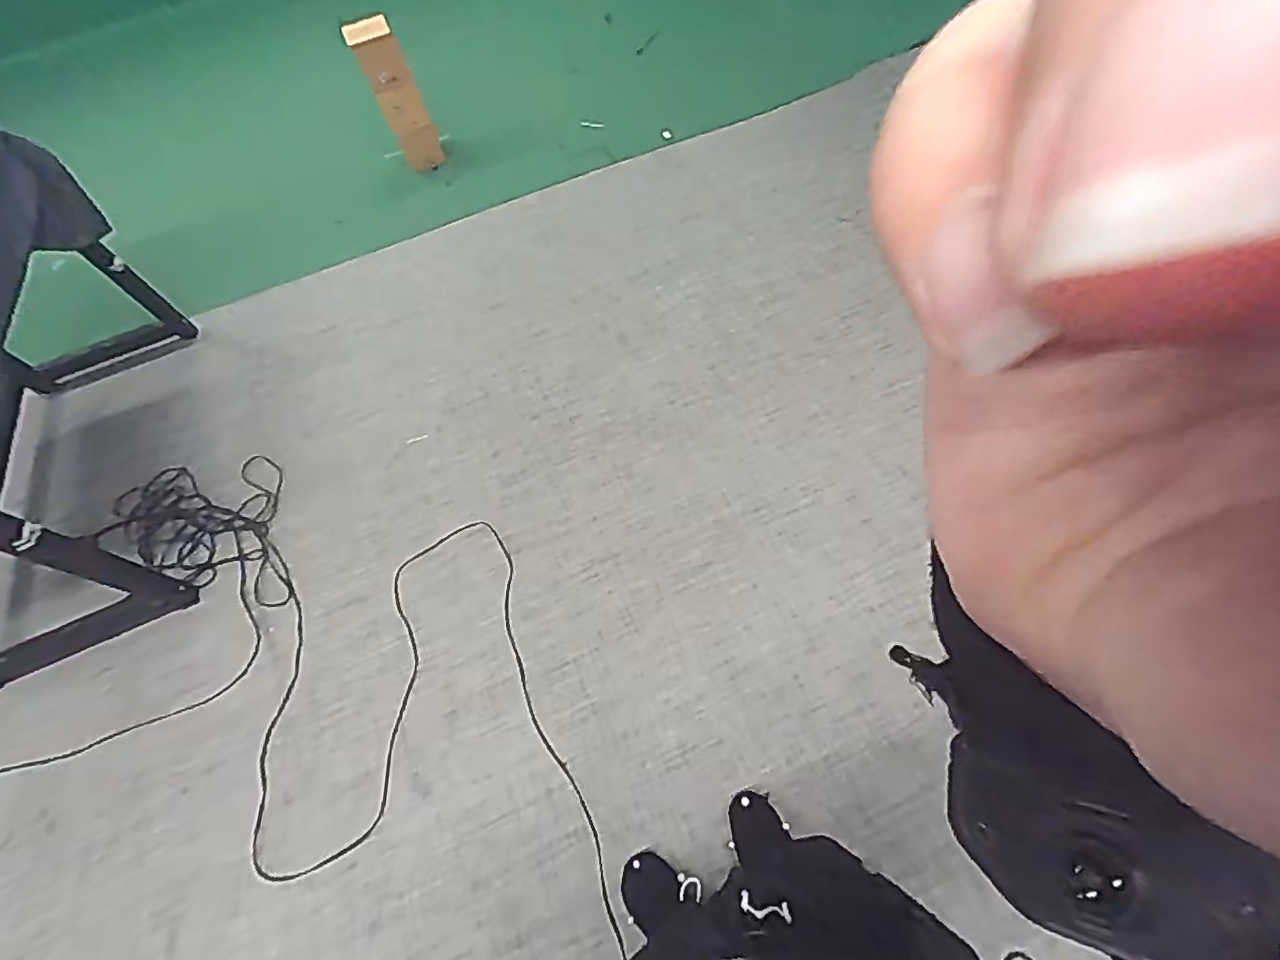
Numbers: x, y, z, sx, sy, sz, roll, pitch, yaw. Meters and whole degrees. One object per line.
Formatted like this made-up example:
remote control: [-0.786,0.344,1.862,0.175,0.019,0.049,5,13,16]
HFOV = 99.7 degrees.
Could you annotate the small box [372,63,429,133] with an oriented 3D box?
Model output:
small box: [-0.991,-1.568,2.229,0.168,0.176,0.179,-22,61,-5]

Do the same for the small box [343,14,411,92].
small box: [-1.011,-1.640,2.084,0.168,0.176,0.179,-25,62,-5]
